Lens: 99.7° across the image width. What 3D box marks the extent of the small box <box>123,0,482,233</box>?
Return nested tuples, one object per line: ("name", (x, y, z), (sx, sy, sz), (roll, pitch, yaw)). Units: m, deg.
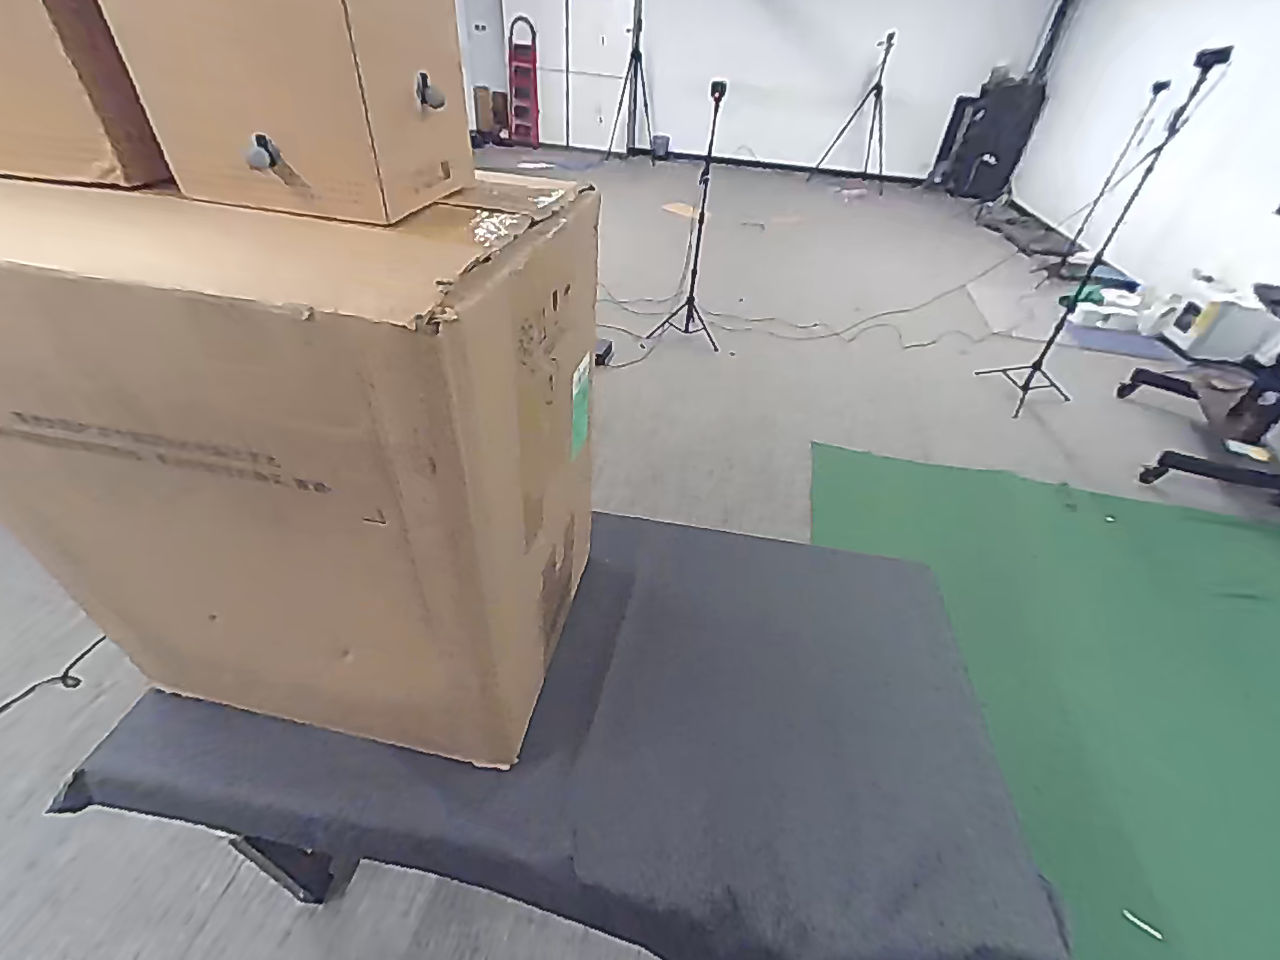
("small box", (-0.243, -0.312, 0.437), (0.179, 0.176, 0.168), (9, 39, 5))
